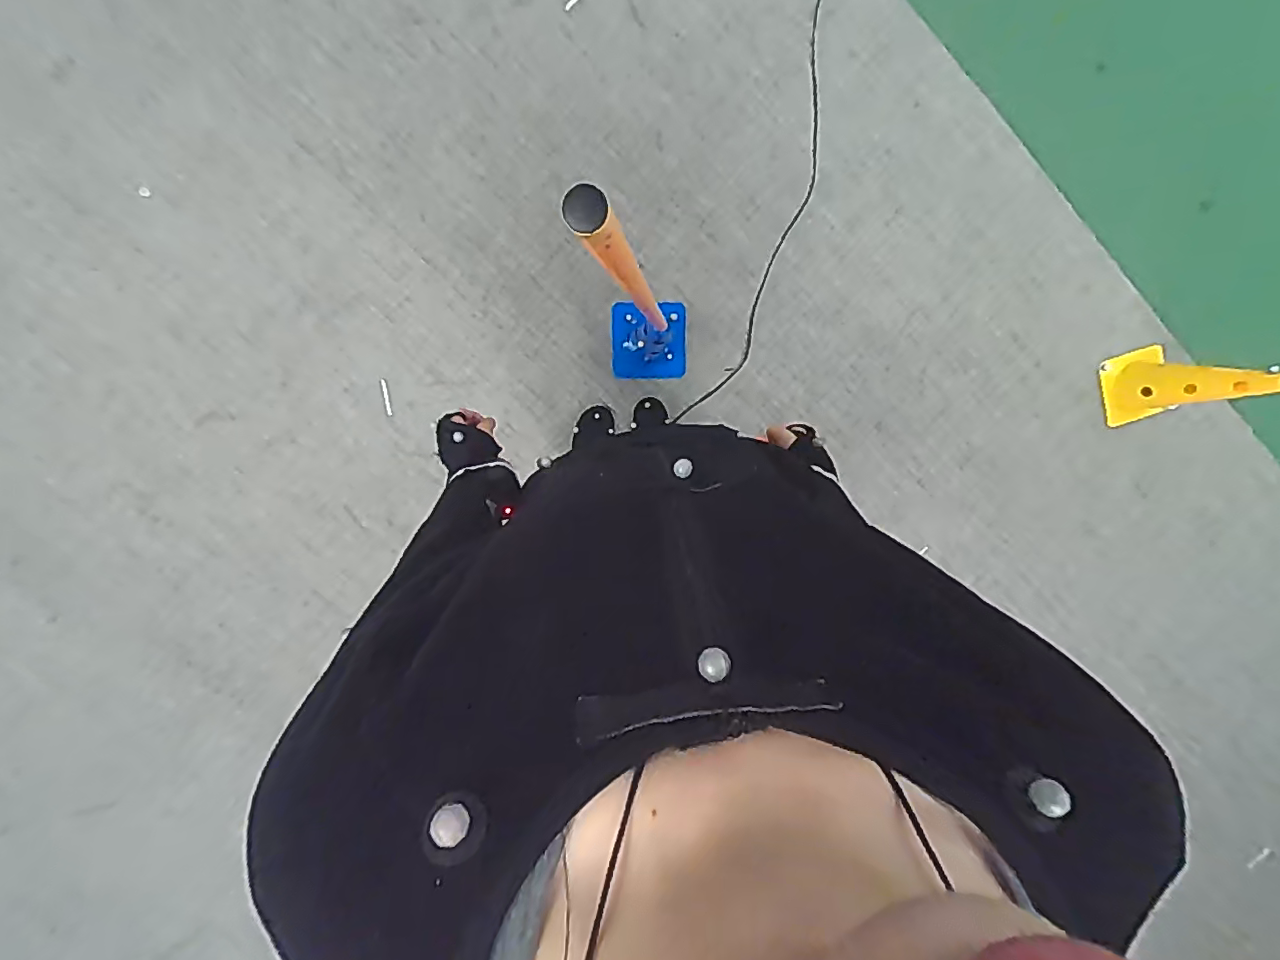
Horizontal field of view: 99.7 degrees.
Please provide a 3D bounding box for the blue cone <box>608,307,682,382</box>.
[{"bbox_3d":[0.022,-0.332,1.268,0.193,0.380,0.192,-2,99,-3],"label":"blue cone"}]
